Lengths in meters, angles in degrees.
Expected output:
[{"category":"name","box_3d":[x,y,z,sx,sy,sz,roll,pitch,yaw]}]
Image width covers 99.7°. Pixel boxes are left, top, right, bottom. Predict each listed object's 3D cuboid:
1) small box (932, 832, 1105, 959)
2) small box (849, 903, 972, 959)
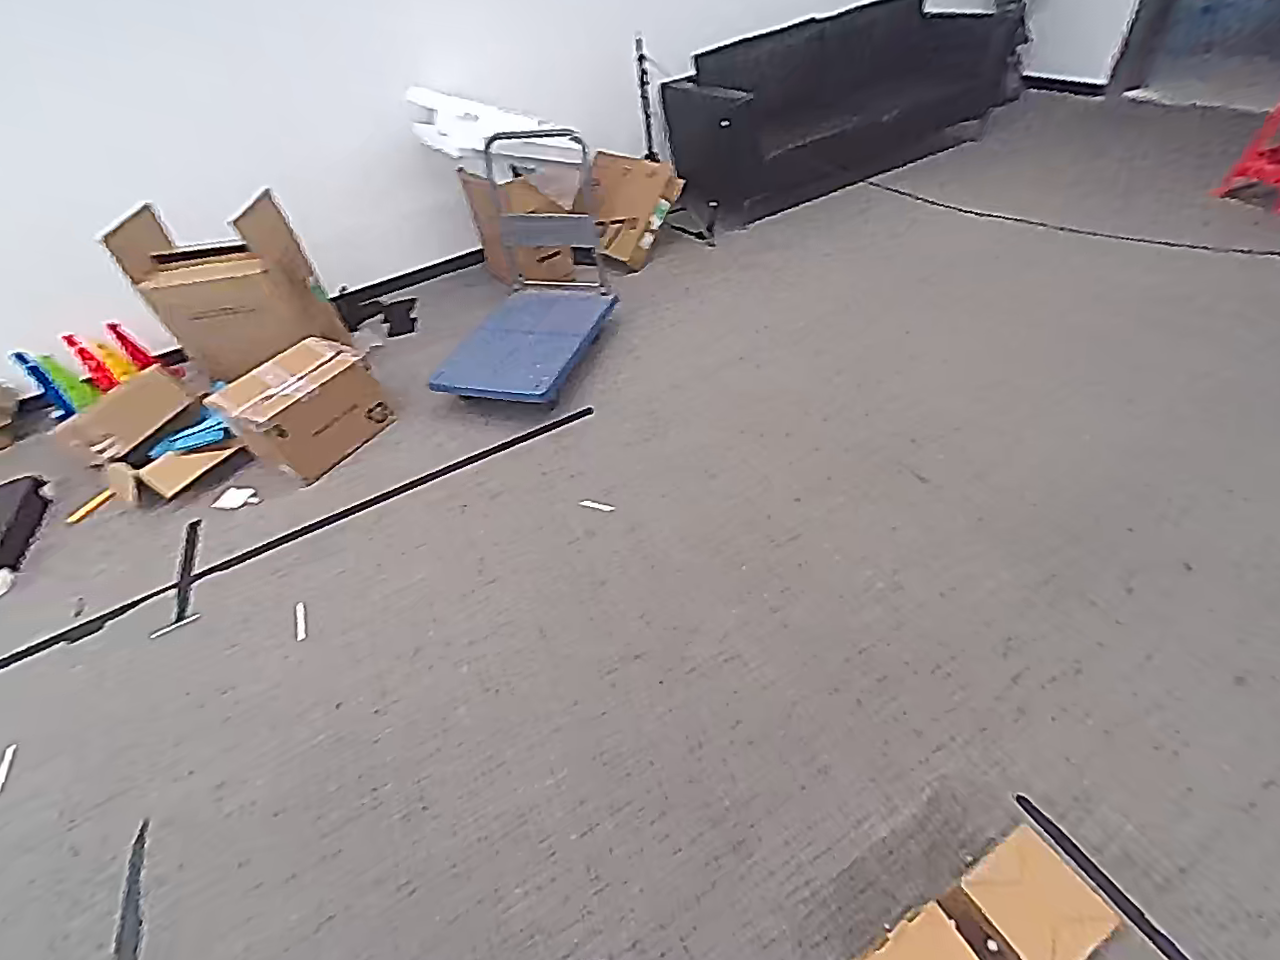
[{"category":"small box","box_3d":[0.675,0.773,0.976,0.179,0.176,0.168,-26,47,-16]},{"category":"small box","box_3d":[0.482,0.871,0.920,0.168,0.176,0.179,-26,47,-15]}]
